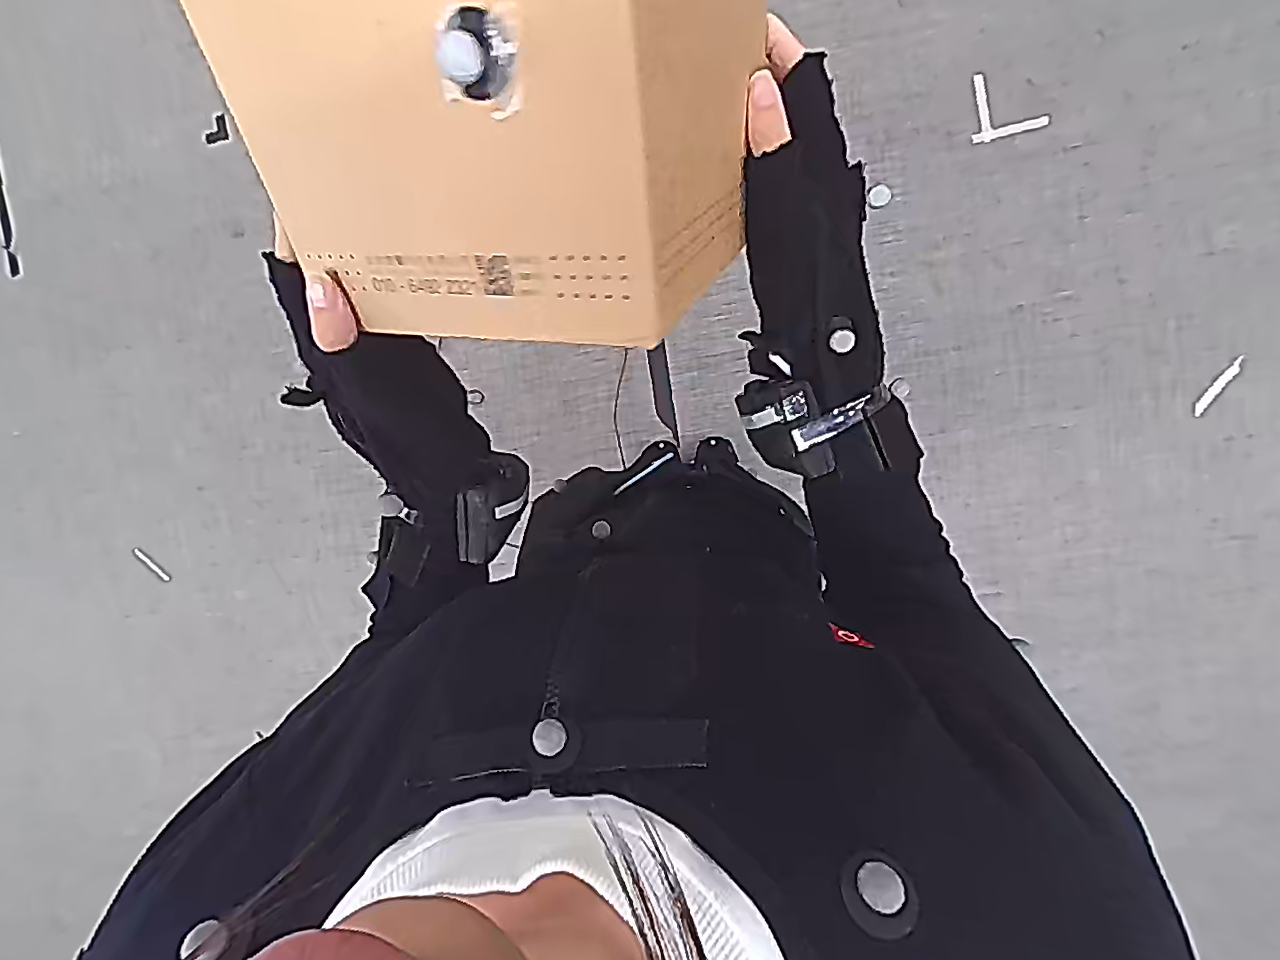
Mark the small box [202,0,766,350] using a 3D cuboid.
[{"bbox_3d":[-0.042,-0.170,0.240,0.168,0.179,0.176,11,131,23],"label":"small box"}]
